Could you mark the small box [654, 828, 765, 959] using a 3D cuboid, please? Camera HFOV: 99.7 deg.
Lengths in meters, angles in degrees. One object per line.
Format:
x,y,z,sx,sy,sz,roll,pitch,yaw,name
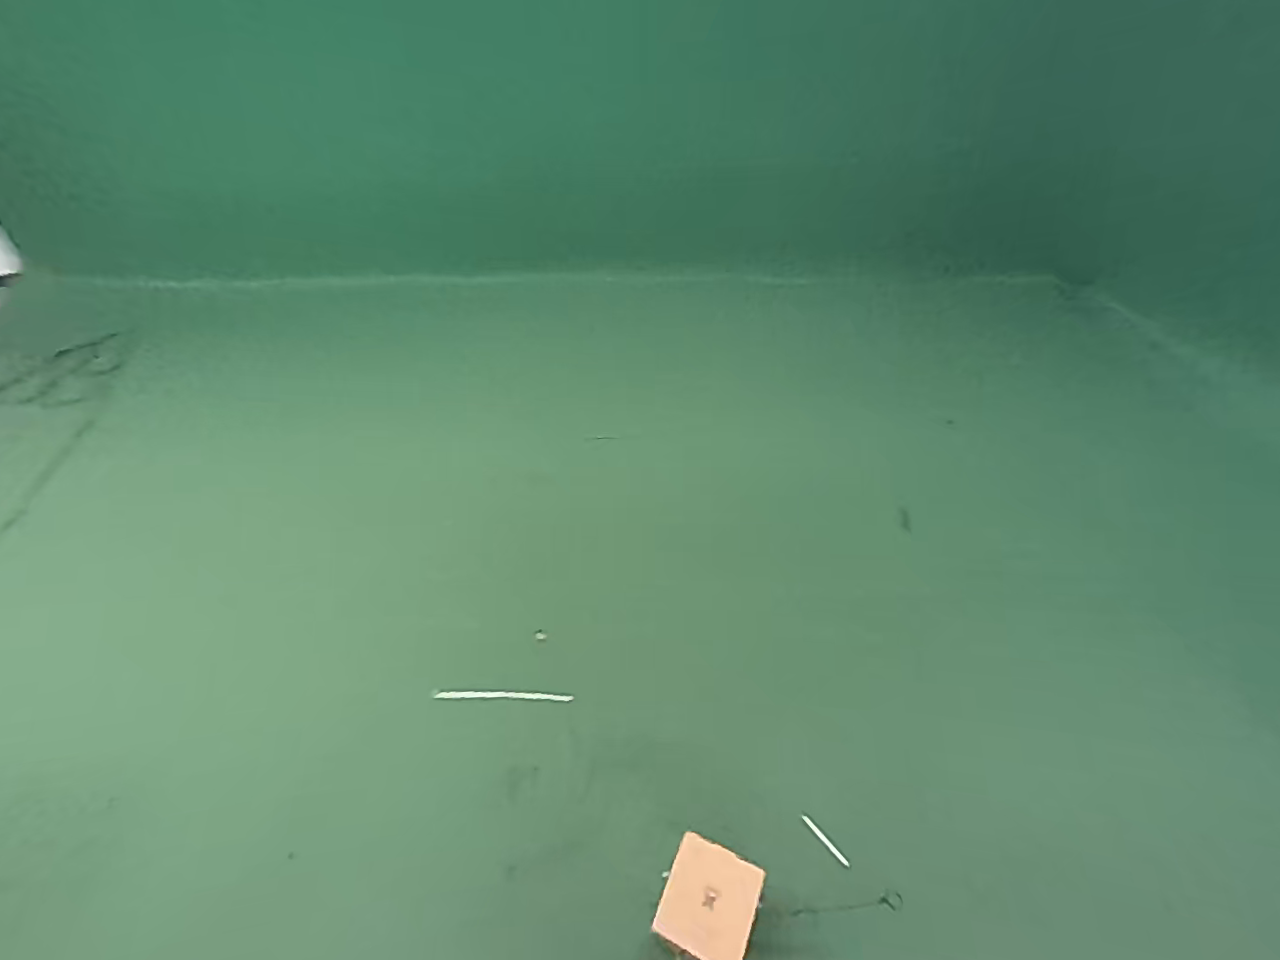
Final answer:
0.133,0.838,1.070,0.168,0.176,0.179,18,49,19,small box
